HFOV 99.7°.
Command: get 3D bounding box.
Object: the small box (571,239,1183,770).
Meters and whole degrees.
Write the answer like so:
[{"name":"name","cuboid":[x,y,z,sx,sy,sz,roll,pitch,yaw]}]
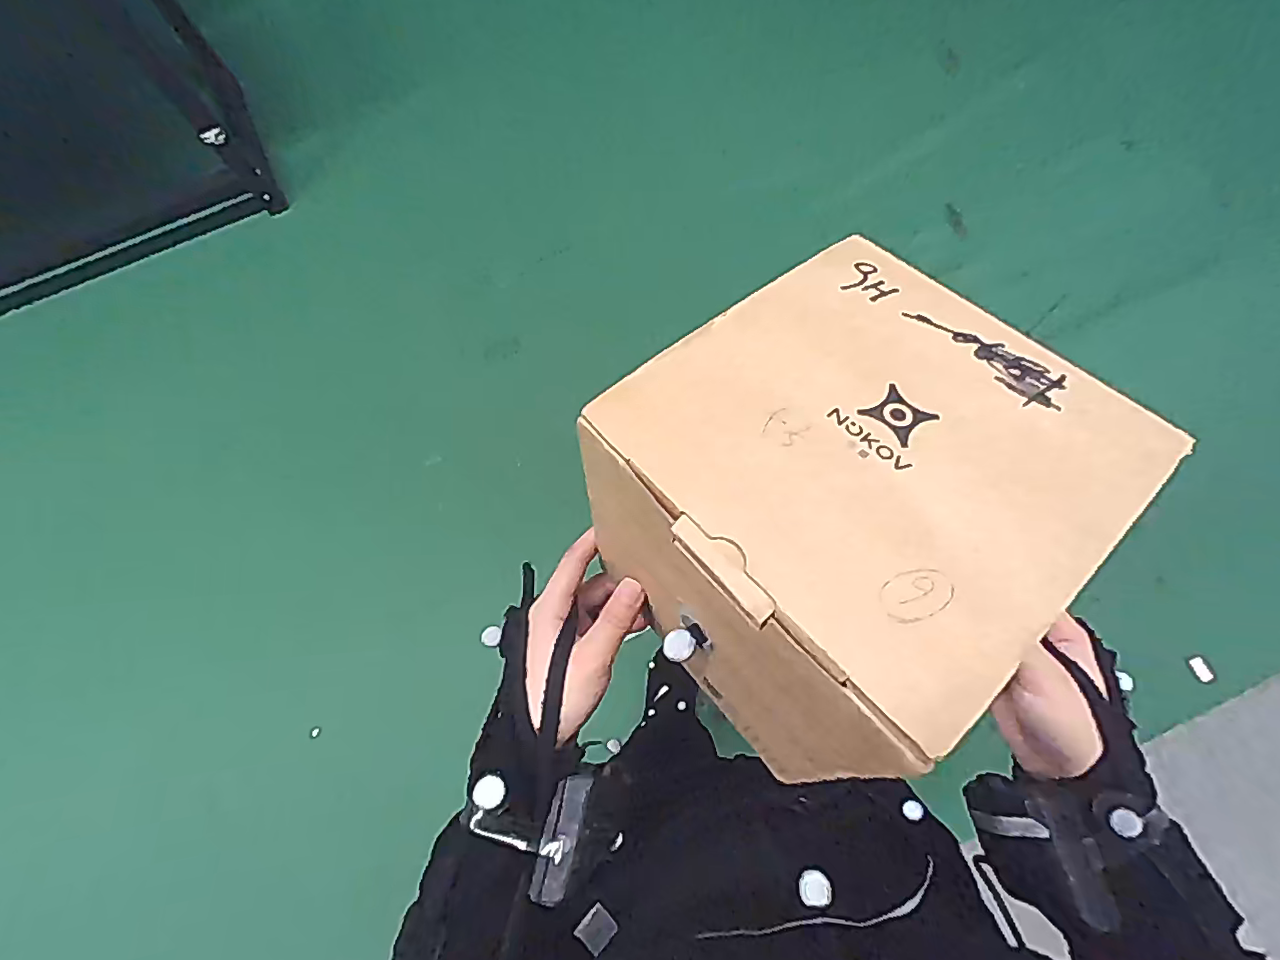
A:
[{"name":"small box","cuboid":[0.090,0.022,0.278,0.179,0.176,0.168,-36,66,-18]}]
